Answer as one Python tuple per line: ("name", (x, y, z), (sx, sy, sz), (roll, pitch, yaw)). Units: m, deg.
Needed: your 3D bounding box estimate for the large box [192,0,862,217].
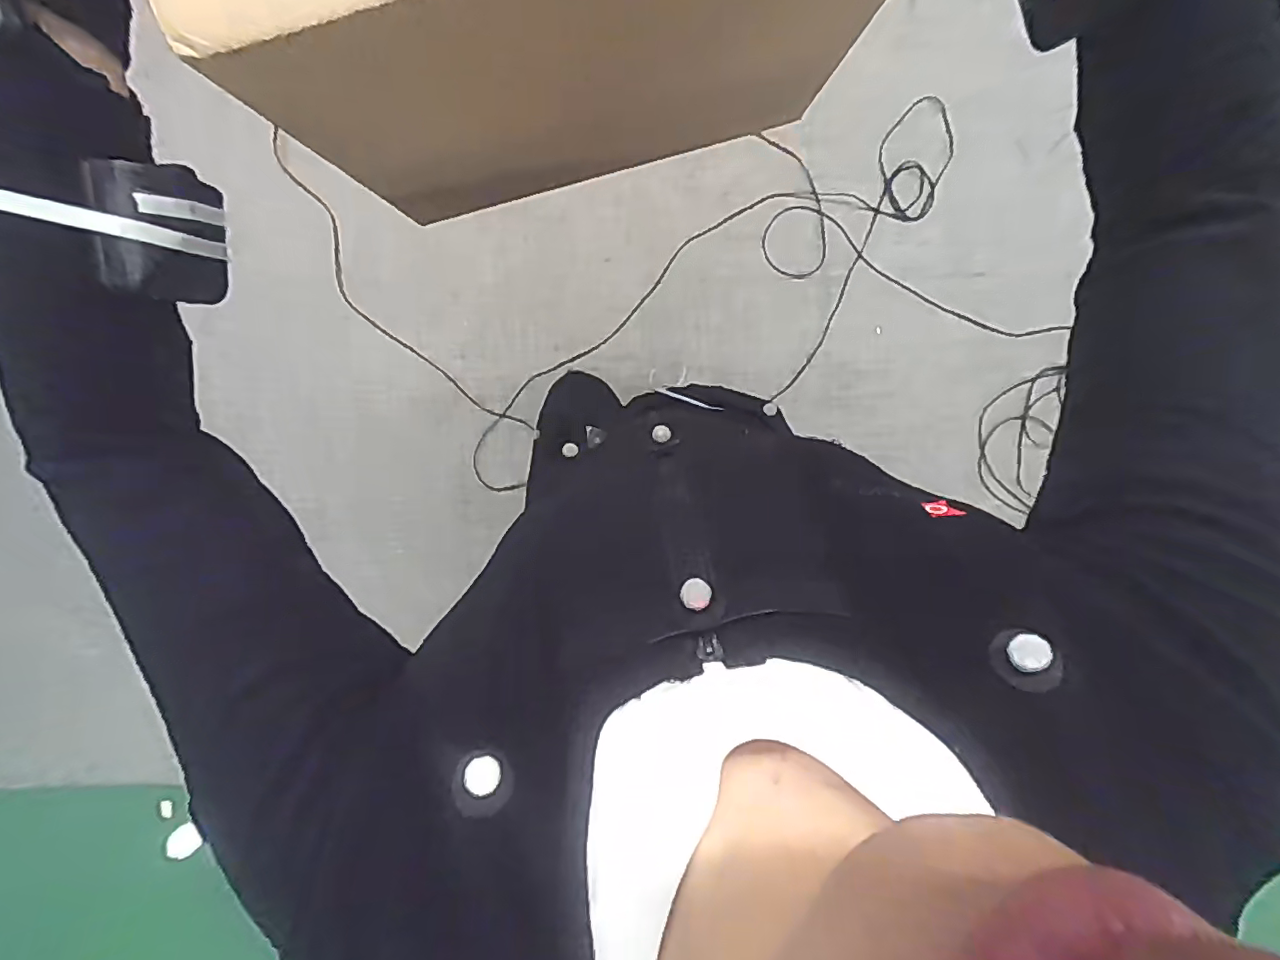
("large box", (-0.068, -0.435, 0.377), (0.408, 0.320, 0.320), (-15, 102, 0))
